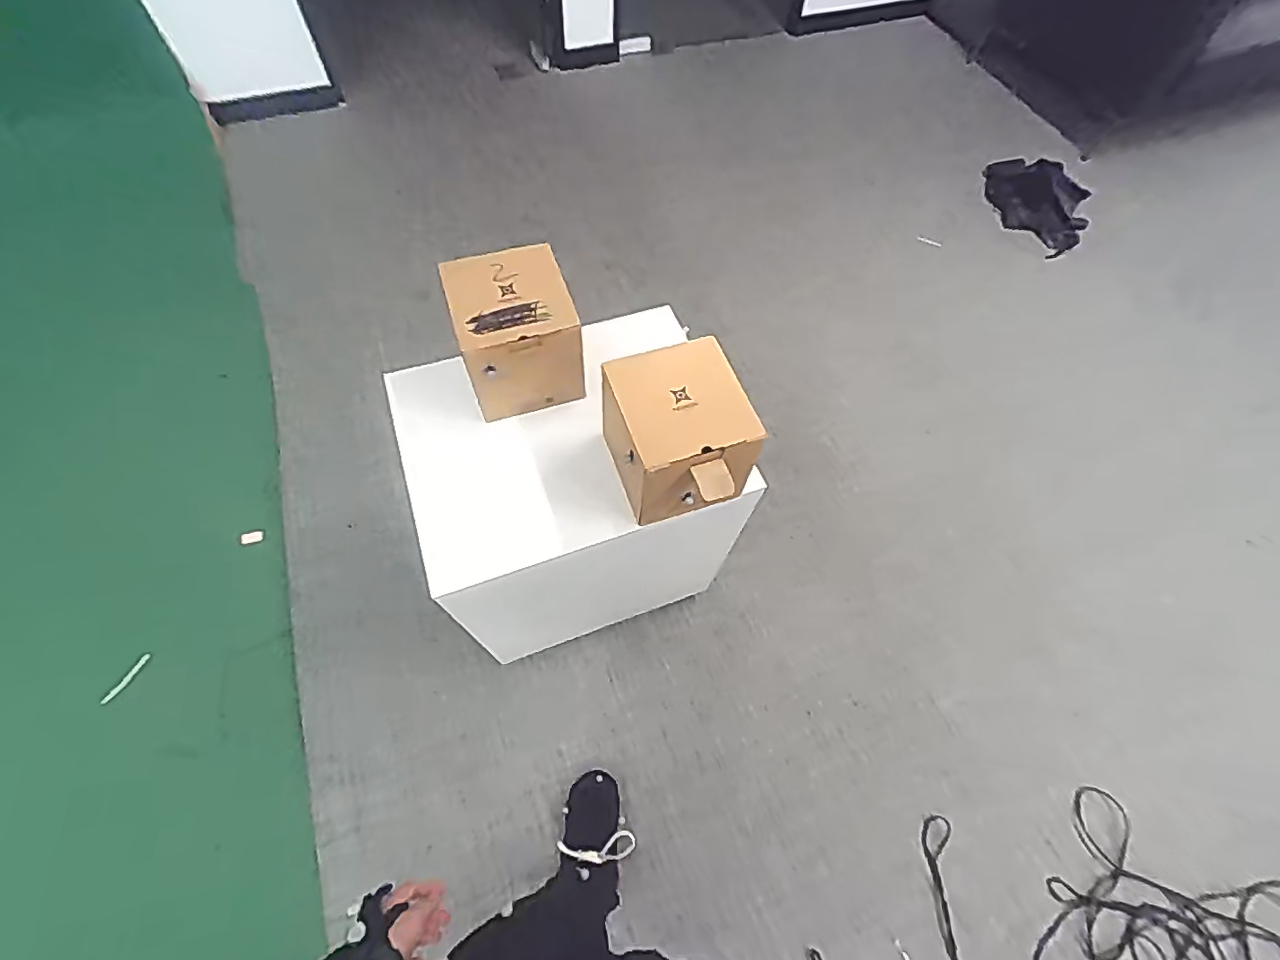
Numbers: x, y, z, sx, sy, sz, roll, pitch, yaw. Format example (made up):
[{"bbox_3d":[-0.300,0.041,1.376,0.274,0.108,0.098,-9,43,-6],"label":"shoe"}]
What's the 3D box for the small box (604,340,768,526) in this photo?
[{"bbox_3d":[0.050,-0.062,0.761,0.168,0.176,0.179,-17,64,-12],"label":"small box"}]
